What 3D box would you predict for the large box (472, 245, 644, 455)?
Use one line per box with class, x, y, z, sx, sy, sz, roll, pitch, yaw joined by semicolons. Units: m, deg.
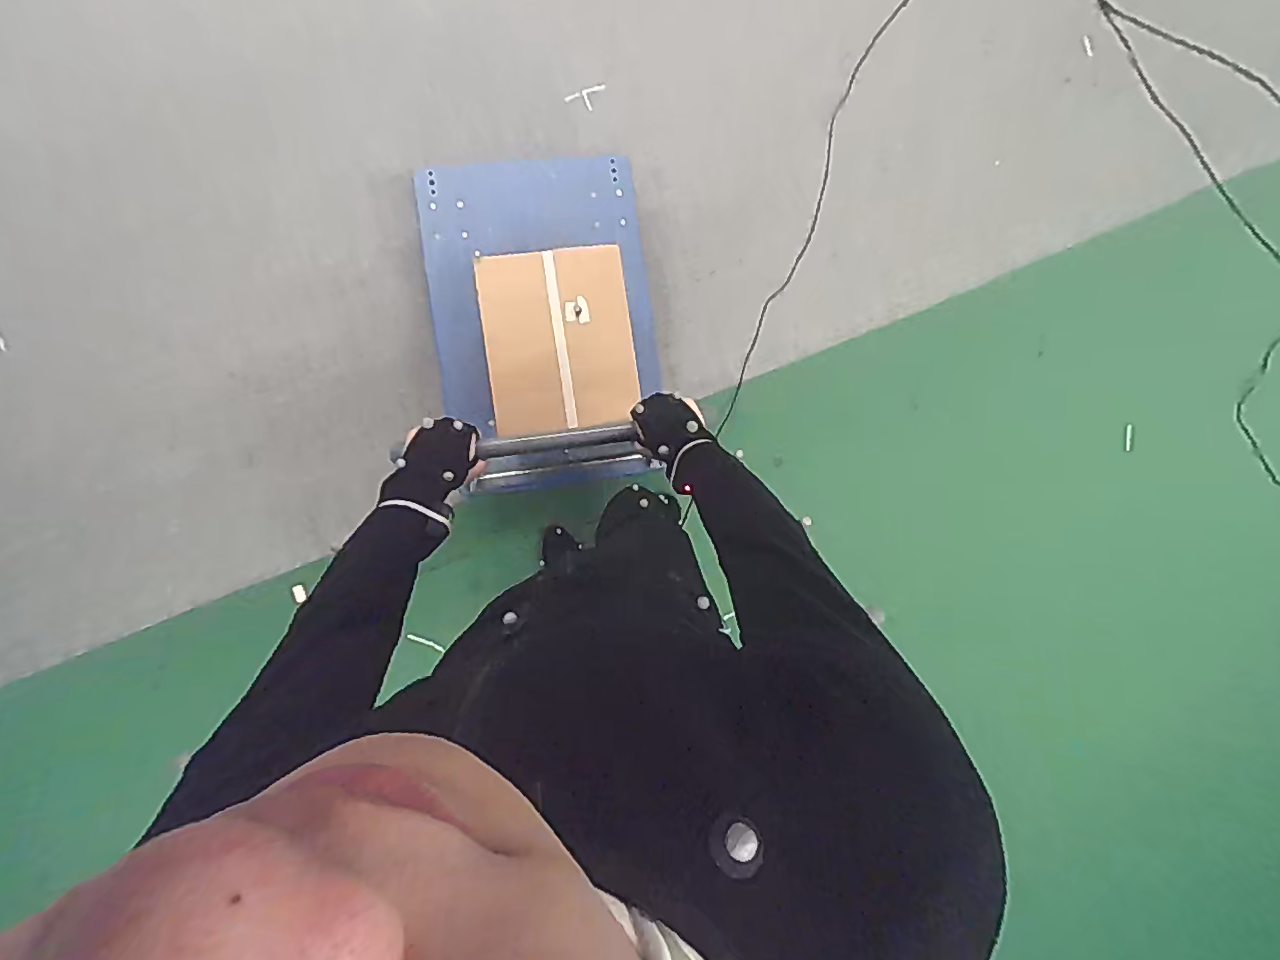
large box;-0.189;-0.288;1.299;0.320;0.320;0.408;-9;89;-8
